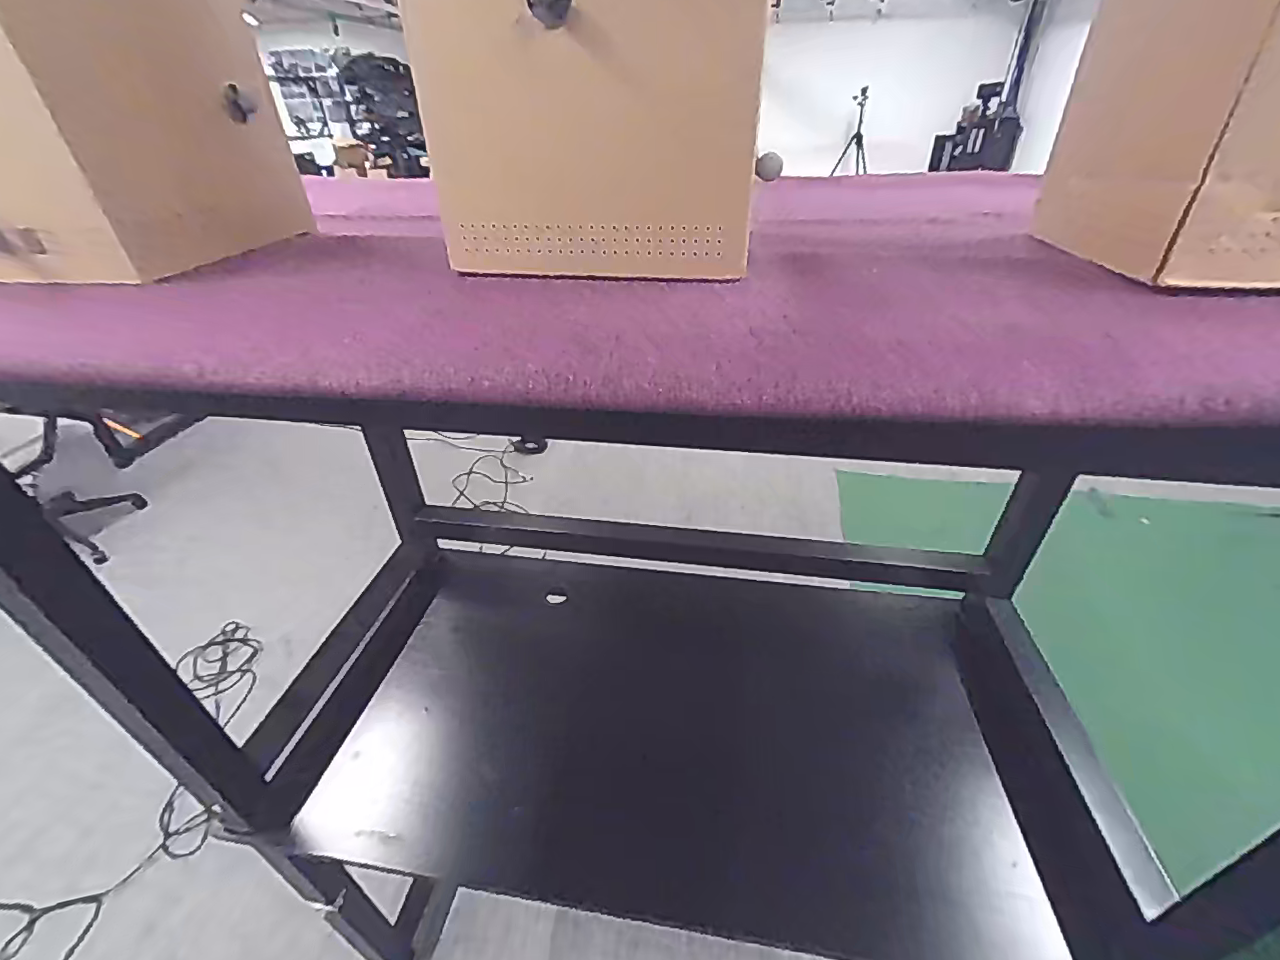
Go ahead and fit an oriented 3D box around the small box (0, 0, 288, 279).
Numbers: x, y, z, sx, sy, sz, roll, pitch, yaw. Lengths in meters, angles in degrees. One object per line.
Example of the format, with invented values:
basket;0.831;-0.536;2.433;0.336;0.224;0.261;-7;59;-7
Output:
small box;-0.369;-0.239;0.348;0.168;0.176;0.179;1;36;6

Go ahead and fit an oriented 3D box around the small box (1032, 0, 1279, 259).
small box;0.335;-0.210;0.265;0.168;0.176;0.179;4;33;12

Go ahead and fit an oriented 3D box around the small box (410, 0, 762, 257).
small box;-0.019;-0.237;0.325;0.179;0.176;0.168;5;34;9
